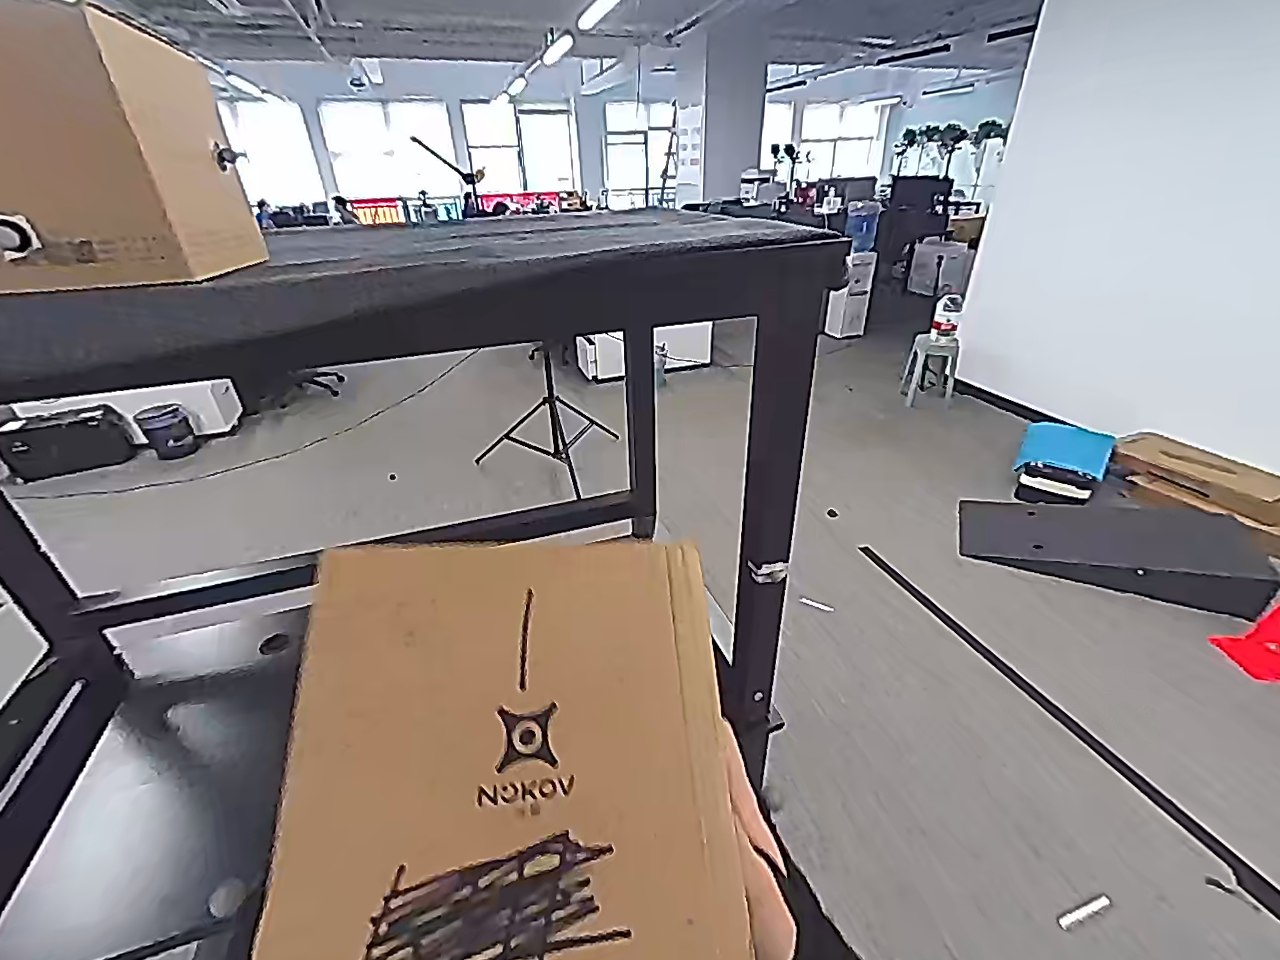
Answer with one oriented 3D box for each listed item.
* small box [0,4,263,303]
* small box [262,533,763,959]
[{"bbox_3d":[-0.428,-0.237,0.418,0.168,0.176,0.179,-10,30,-13],"label":"small box"},{"bbox_3d":[-0.057,0.135,0.275,0.168,0.176,0.179,0,67,-13],"label":"small box"}]
